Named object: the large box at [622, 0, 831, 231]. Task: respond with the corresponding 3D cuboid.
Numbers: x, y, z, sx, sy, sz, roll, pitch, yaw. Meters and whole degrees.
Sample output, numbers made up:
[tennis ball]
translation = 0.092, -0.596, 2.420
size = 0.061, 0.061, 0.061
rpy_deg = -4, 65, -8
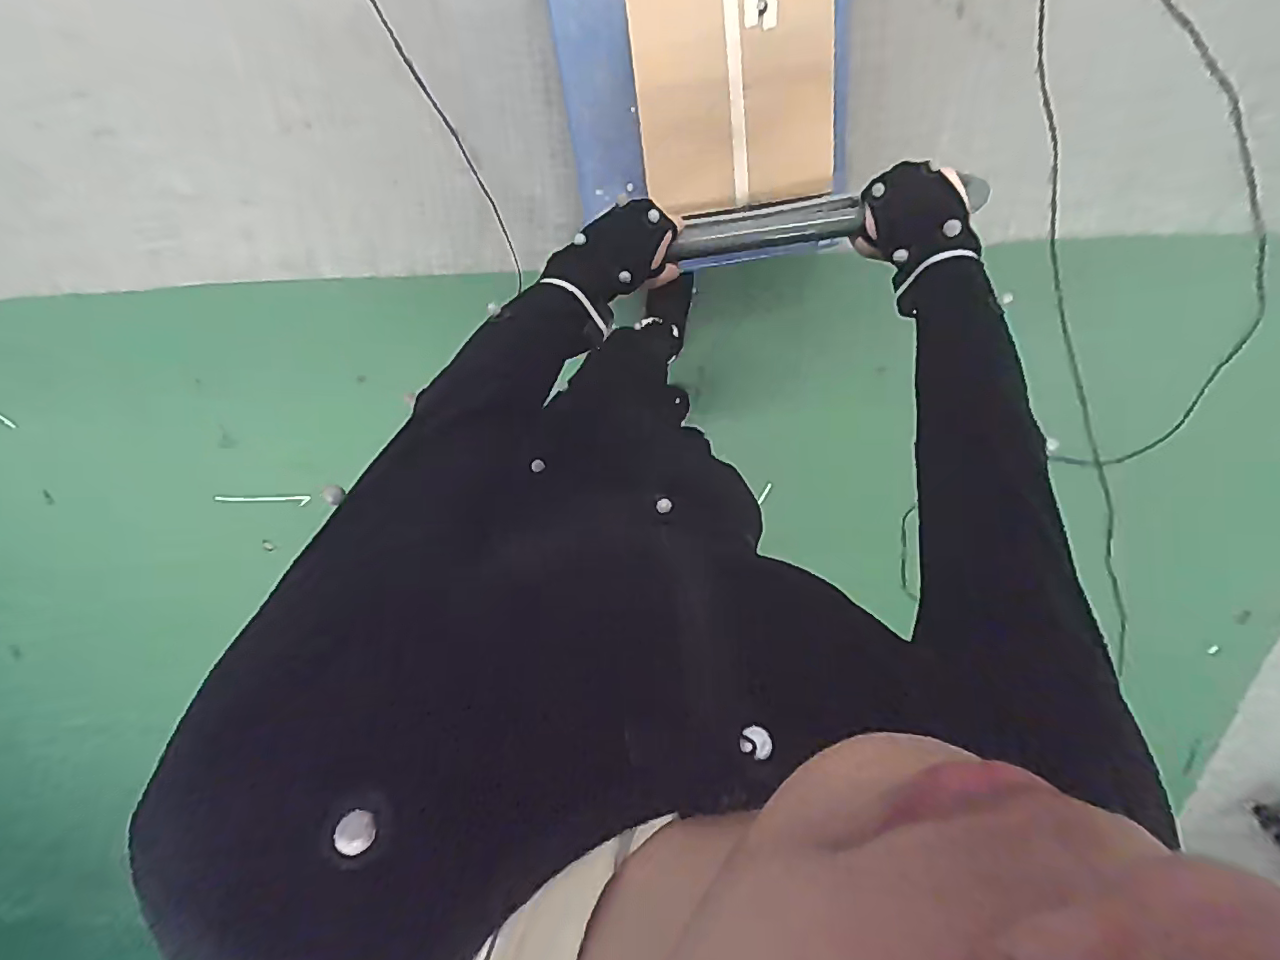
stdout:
[large box]
translation = 0.150, -0.708, 0.999
size = 0.320, 0.320, 0.408
rpy_deg = -7, 112, 4
